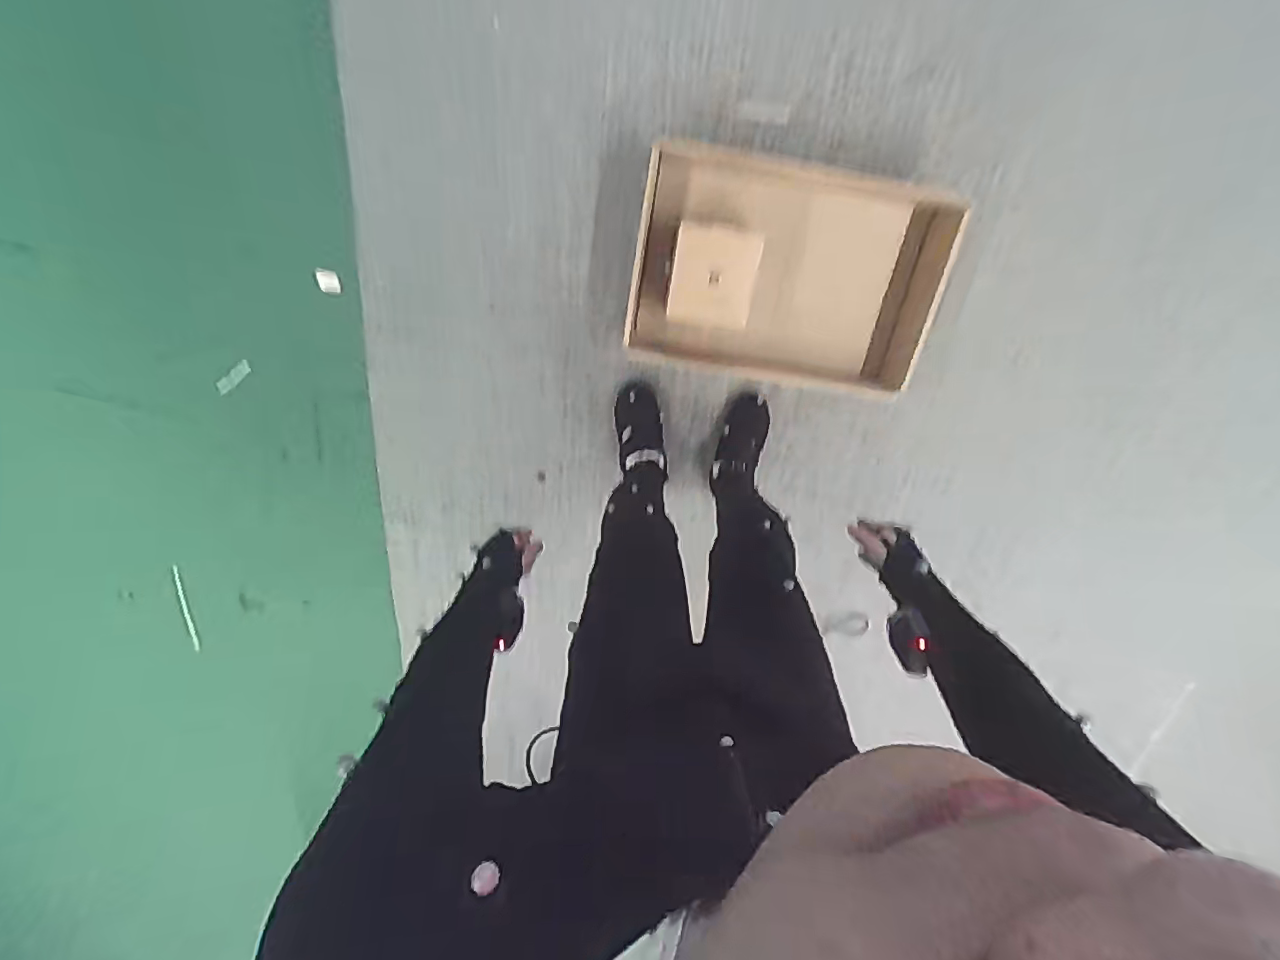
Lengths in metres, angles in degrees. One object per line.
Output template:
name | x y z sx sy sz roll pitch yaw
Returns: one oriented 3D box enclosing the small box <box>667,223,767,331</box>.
small box | 0.149 -0.420 1.120 0.168 0.176 0.179 9 113 -2
